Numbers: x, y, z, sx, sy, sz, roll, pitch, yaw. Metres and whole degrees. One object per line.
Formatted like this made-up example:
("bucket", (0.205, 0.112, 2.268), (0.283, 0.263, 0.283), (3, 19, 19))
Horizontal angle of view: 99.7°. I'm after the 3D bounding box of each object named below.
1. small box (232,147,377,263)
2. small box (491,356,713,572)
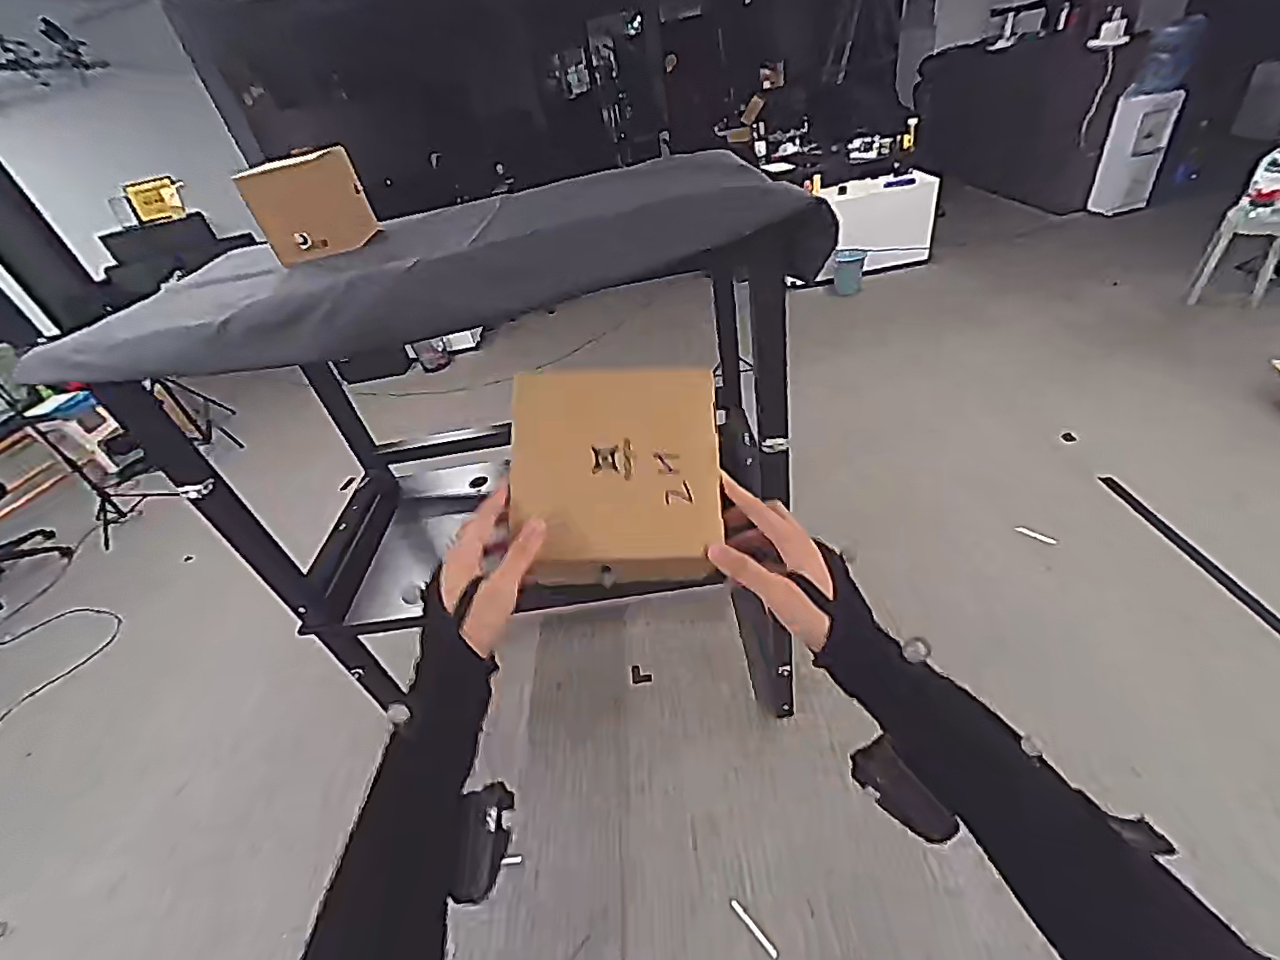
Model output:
("small box", (-0.670, -0.562, 1.108), (0.168, 0.176, 0.179), (-13, 38, 1))
("small box", (-0.030, -0.004, 0.516), (0.179, 0.176, 0.168), (-1, 74, -1))
